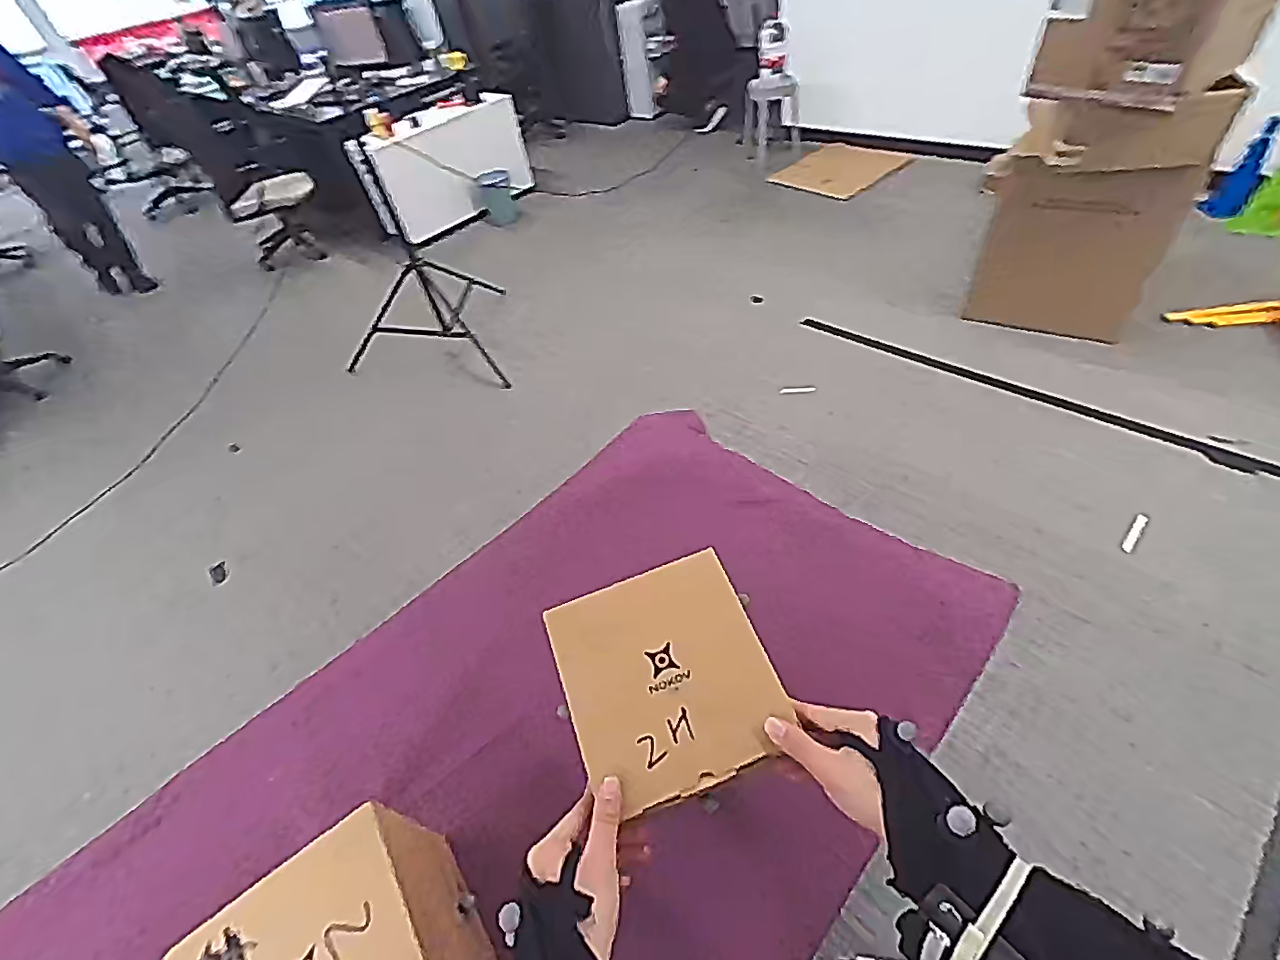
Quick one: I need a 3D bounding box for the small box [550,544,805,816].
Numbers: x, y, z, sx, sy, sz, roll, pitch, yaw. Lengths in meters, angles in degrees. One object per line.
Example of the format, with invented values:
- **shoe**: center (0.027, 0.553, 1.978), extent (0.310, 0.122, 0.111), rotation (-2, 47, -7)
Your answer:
- **small box**: center (0.029, 0.193, 0.510), extent (0.168, 0.176, 0.179), rotation (-19, 57, -6)
